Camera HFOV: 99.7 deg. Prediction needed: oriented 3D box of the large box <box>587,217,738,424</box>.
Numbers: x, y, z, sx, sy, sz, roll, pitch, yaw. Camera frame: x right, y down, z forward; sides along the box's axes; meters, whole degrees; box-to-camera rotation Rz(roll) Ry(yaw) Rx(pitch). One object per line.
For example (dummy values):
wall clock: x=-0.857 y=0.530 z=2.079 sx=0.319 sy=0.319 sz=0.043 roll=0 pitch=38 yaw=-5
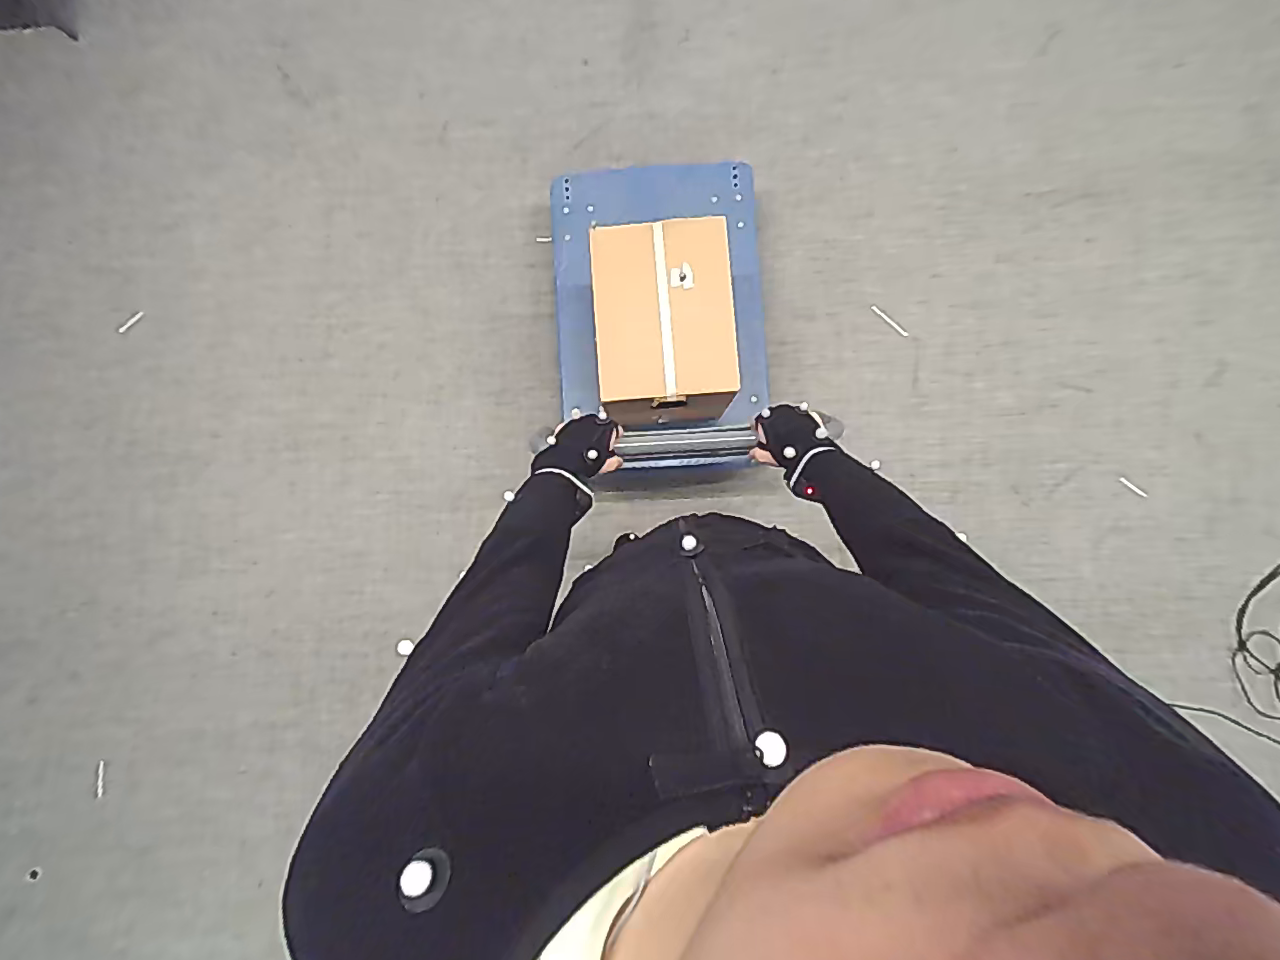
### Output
large box: x=0.054 y=-0.376 z=1.365 sx=0.320 sy=0.320 sz=0.408 roll=-4 pitch=86 yaw=1
